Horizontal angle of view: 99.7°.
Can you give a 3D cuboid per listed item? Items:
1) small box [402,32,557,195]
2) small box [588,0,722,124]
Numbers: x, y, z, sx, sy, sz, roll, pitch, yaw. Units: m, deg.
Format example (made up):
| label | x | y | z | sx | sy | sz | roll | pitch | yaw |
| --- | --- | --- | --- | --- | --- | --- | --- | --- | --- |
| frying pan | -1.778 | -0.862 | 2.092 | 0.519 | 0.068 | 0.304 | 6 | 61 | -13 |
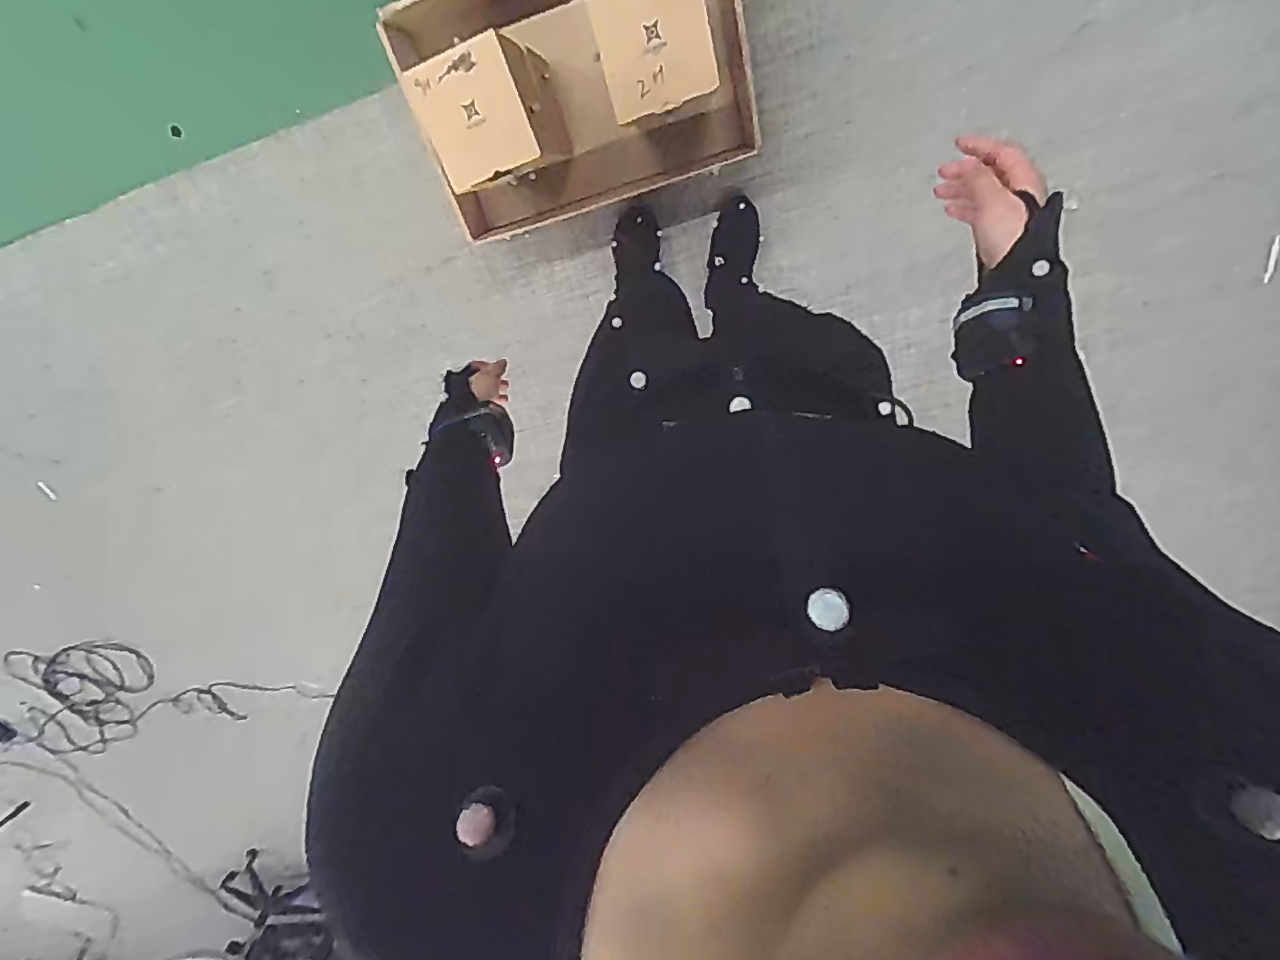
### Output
| label | x | y | z | sx | sy | sz | roll | pitch | yaw |
| --- | --- | --- | --- | --- | --- | --- | --- | --- | --- |
| small box | -0.255 | -0.610 | 0.912 | 0.168 | 0.176 | 0.179 | -15 | 121 | 12 |
| small box | 0.026 | -0.684 | 0.850 | 0.168 | 0.176 | 0.179 | -12 | 122 | 12 |
